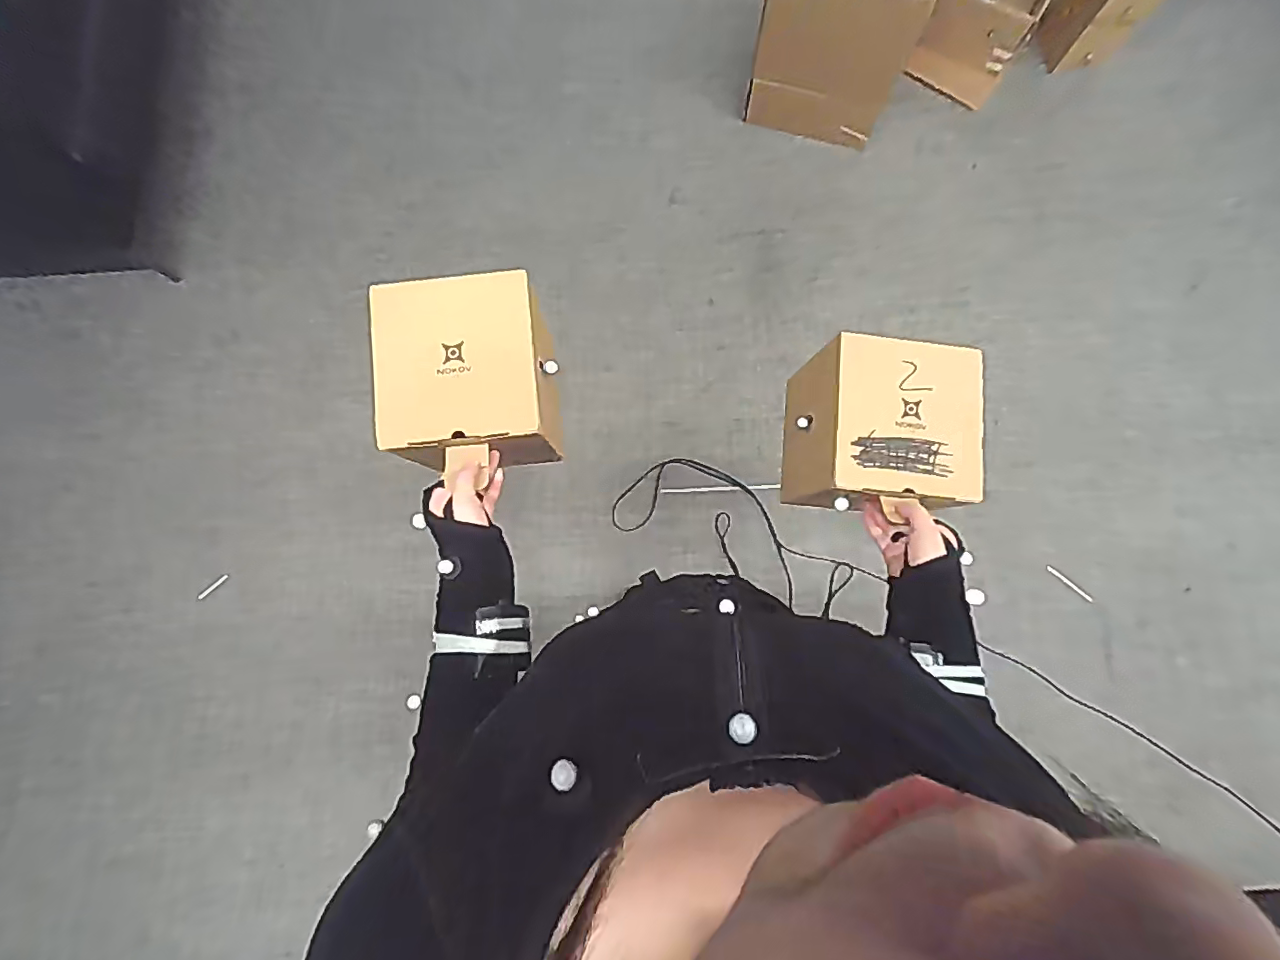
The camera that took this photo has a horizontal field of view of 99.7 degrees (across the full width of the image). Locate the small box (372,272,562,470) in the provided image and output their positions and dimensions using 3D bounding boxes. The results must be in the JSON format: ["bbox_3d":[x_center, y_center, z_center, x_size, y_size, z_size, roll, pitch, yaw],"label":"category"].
[{"bbox_3d":[-0.188,-0.114,0.627,0.168,0.176,0.179,-6,84,0],"label":"small box"}]
